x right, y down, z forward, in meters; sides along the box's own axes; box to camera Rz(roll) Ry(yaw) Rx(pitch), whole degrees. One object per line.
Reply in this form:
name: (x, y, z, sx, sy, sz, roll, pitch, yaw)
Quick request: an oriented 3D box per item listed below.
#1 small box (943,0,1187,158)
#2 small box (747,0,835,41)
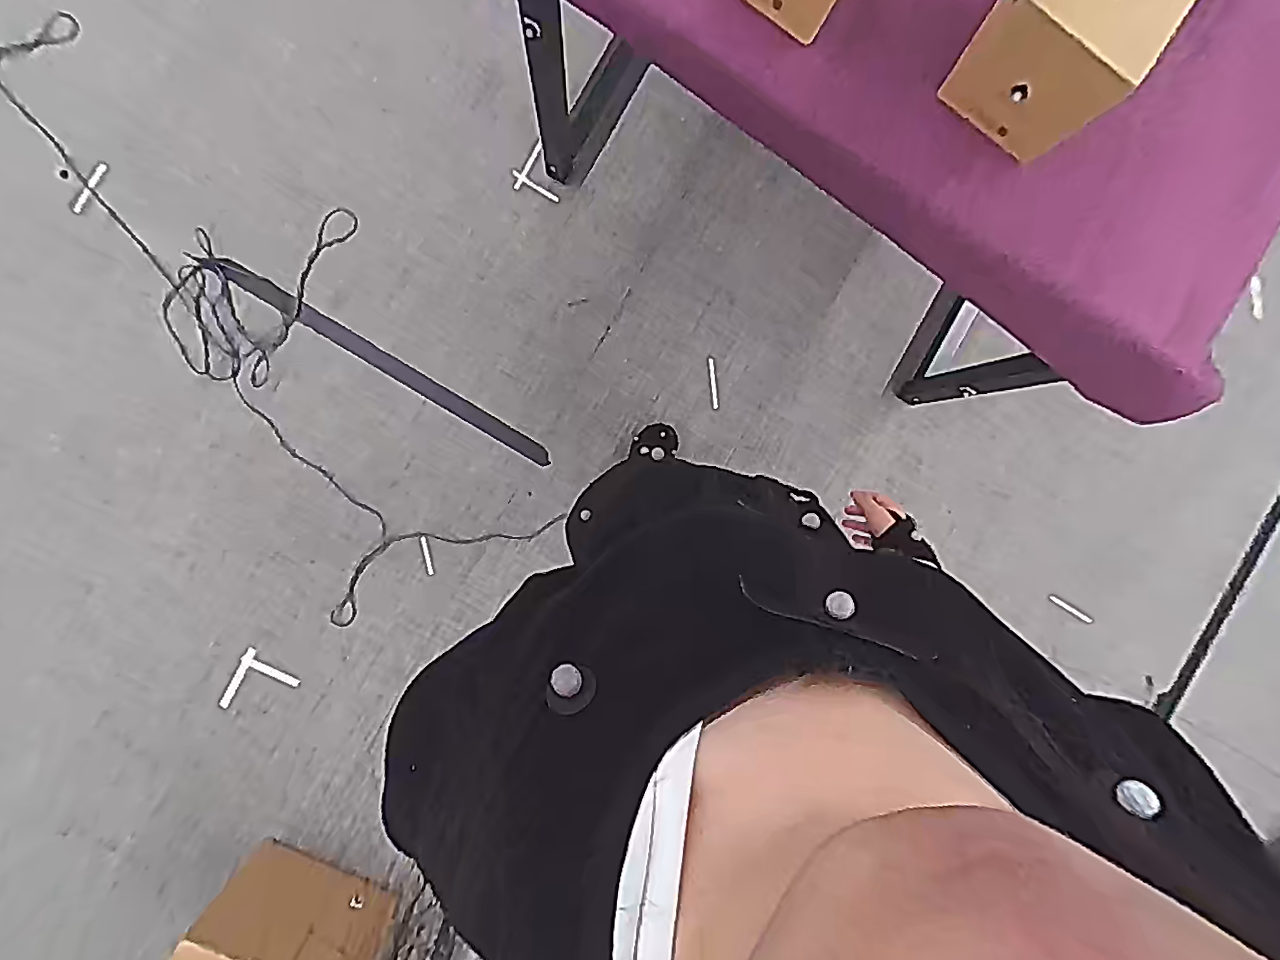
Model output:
small box: (0.536, -0.570, 0.700, 0.168, 0.176, 0.179, 34, 89, -6)
small box: (0.211, -0.709, 0.665, 0.168, 0.176, 0.179, 32, 88, -6)
